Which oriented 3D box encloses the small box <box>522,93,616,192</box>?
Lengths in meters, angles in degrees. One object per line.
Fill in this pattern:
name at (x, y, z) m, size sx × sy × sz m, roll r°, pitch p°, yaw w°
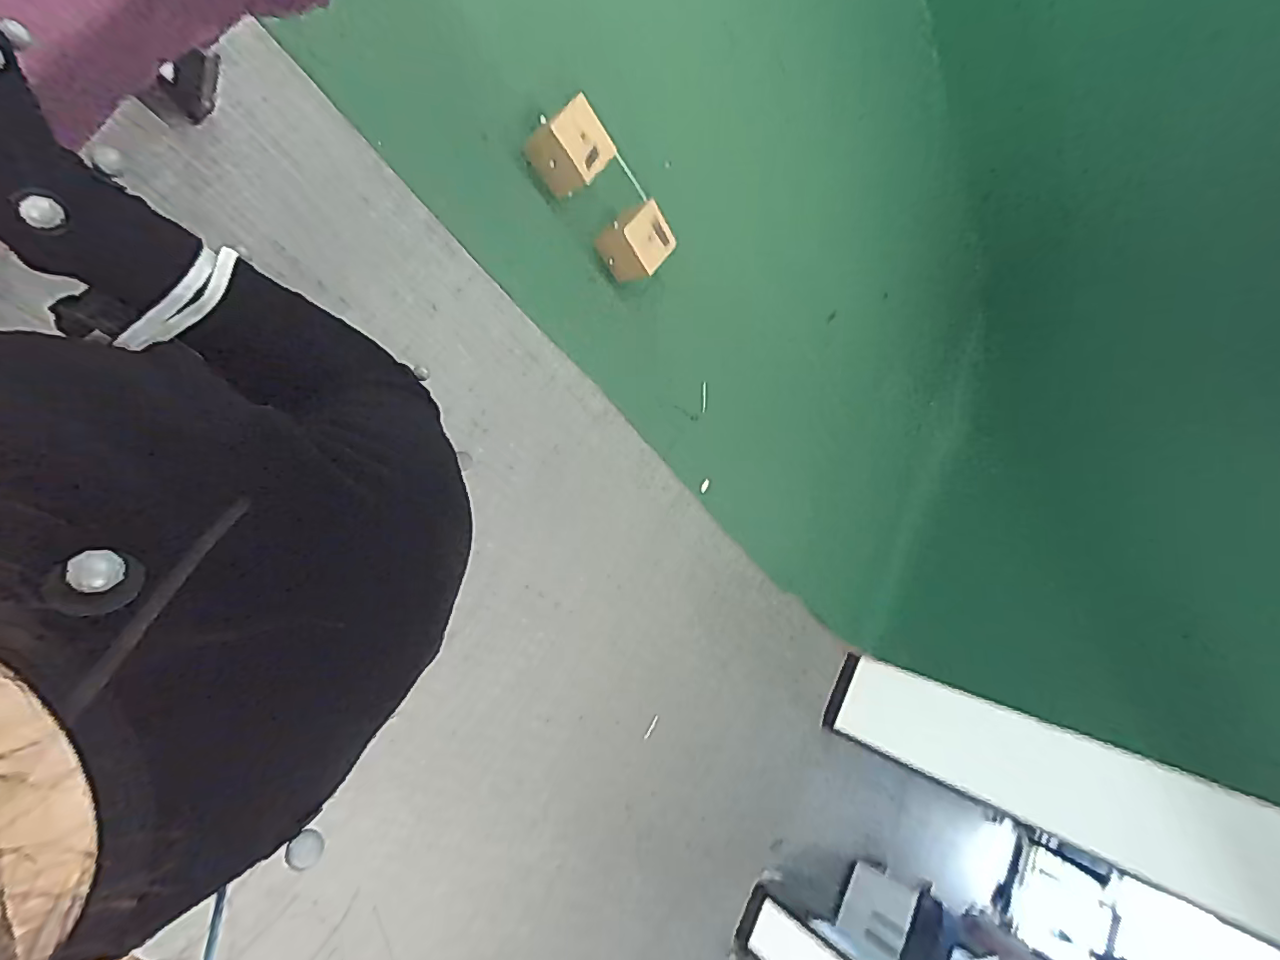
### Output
small box at (-0.210, -0.986, 1.600) m, size 0.179 × 0.176 × 0.168 m, roll 46°, pitch 67°, yaw -34°
